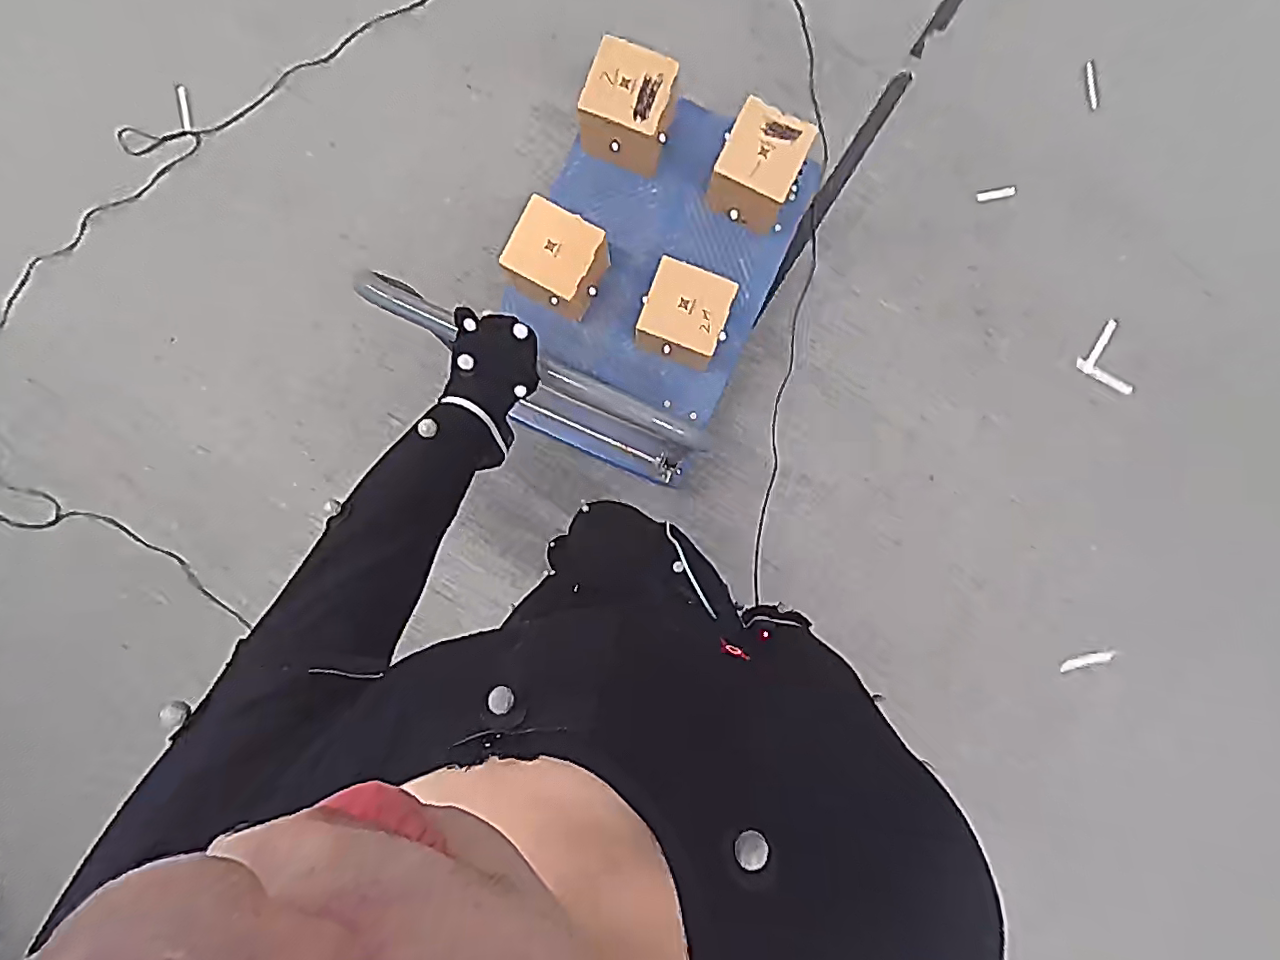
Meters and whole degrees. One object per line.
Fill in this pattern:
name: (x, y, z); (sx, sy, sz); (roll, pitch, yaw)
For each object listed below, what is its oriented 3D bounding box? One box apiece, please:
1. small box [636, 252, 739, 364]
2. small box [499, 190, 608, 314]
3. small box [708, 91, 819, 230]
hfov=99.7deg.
small box: (0.099, -0.376, 1.217); (0.179, 0.176, 0.168); (21, 91, -1)
small box: (-0.185, -0.498, 1.213); (0.179, 0.176, 0.168); (27, 90, -2)
small box: (0.265, -0.703, 1.211); (0.168, 0.176, 0.179); (26, 92, -1)
